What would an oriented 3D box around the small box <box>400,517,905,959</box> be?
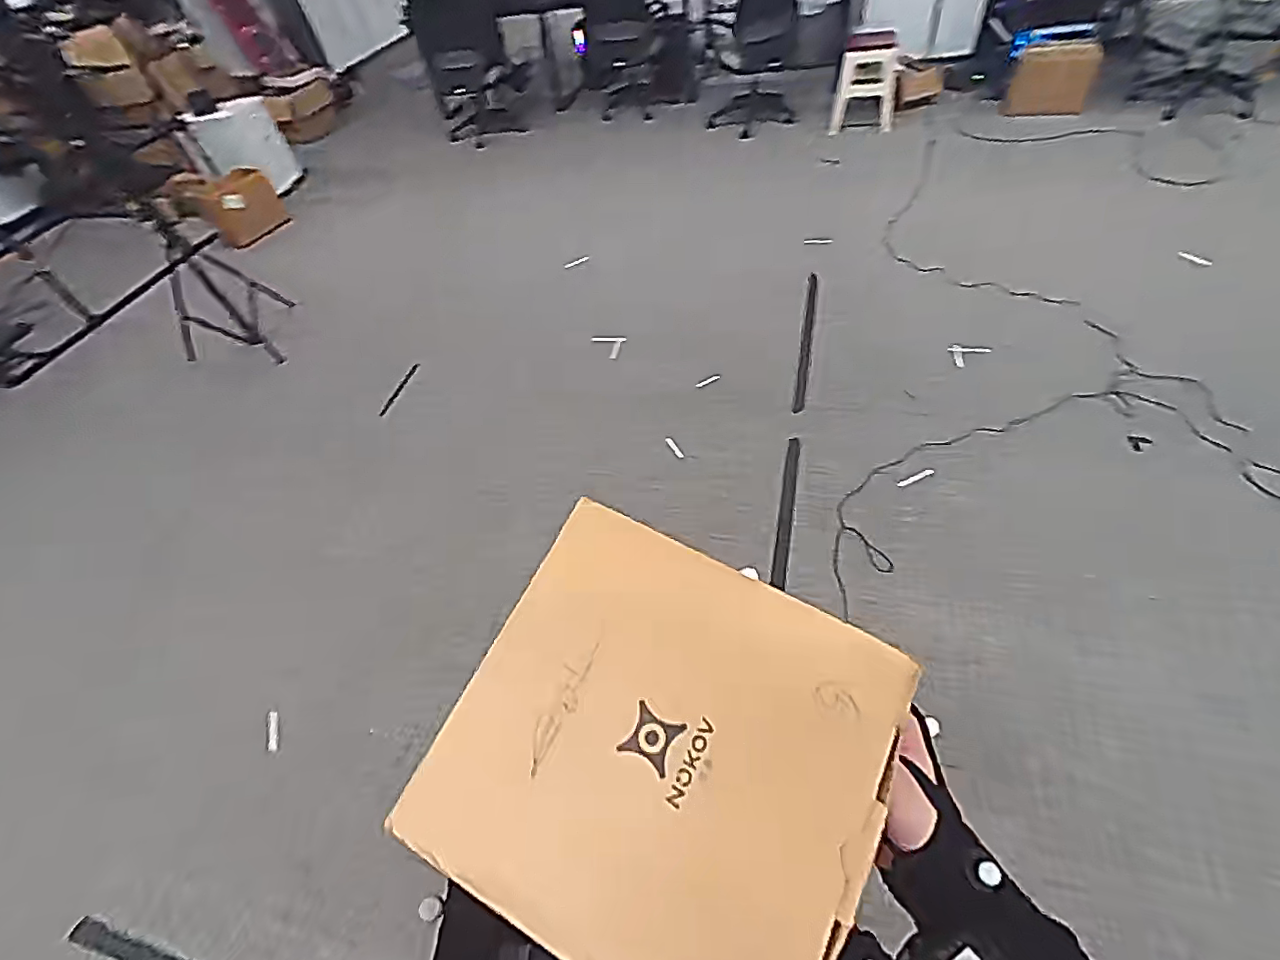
[{"bbox_3d":[0.013,0.150,0.313,0.179,0.176,0.168,25,70,15],"label":"small box"}]
